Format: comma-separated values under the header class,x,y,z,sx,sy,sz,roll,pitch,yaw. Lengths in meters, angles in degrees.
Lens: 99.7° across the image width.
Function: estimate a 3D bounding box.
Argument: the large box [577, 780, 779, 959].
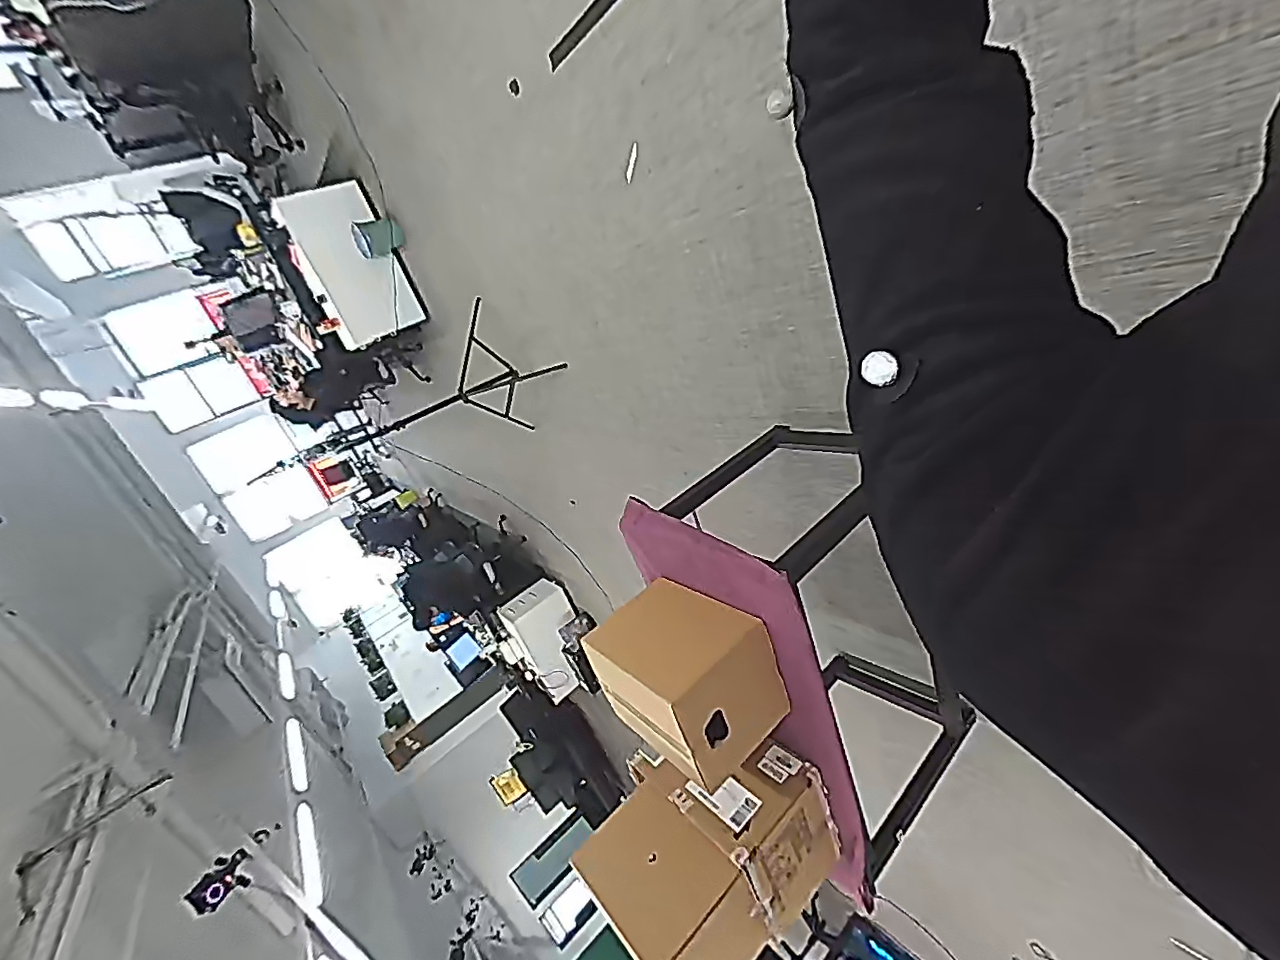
class,x,y,z,sx,sy,sz,roll,pitch,yaw
large box,0.098,1.128,1.476,0.408,0.320,0.320,10,130,54
